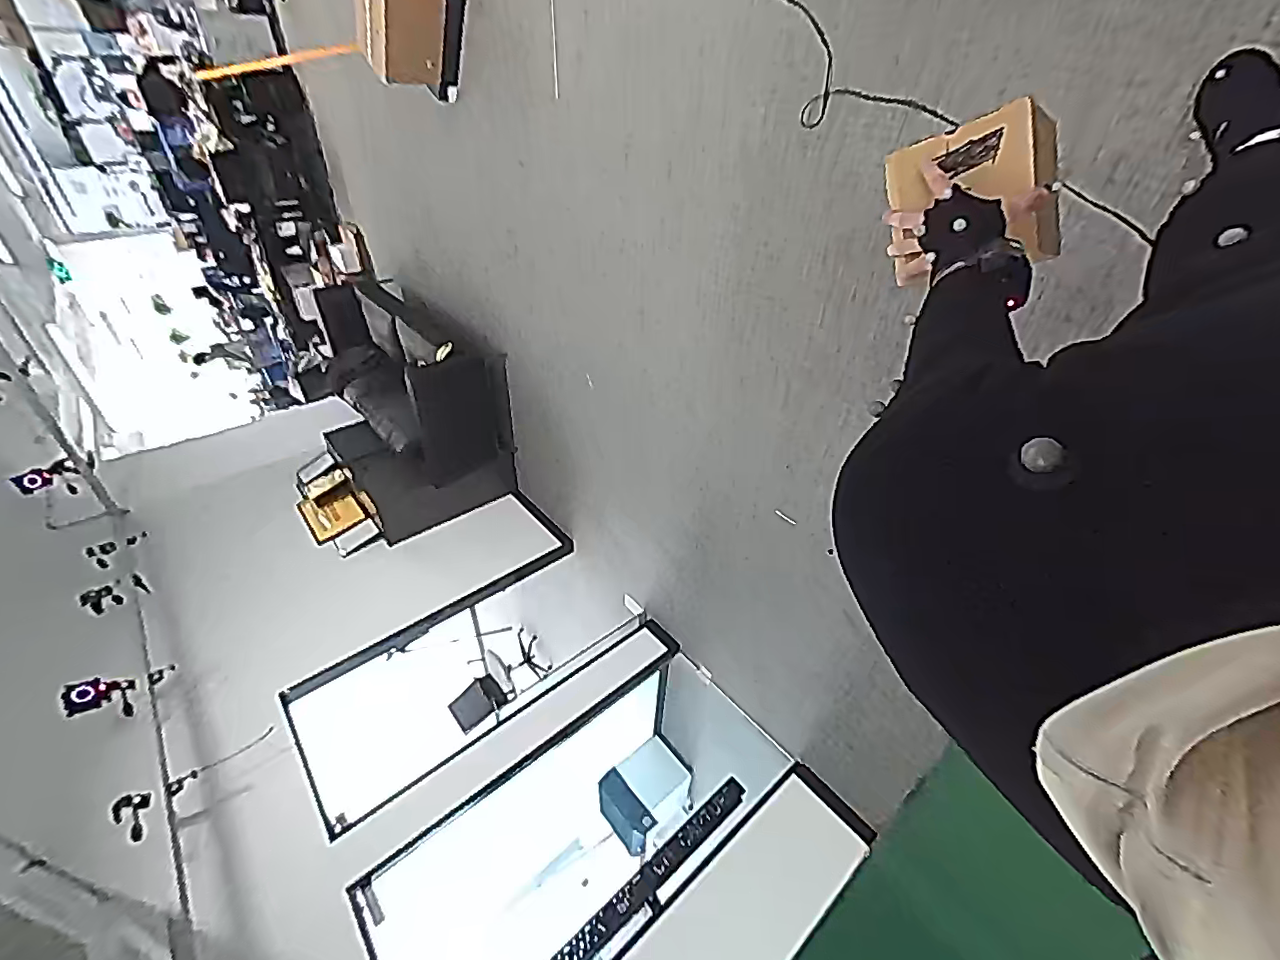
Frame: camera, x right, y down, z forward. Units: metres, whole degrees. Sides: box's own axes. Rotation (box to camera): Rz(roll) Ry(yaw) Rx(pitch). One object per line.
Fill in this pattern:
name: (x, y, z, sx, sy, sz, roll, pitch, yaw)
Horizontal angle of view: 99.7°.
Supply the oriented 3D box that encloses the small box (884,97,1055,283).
small box: (0.458, -0.380, 0.748, 0.168, 0.176, 0.179, 0, 105, 46)
